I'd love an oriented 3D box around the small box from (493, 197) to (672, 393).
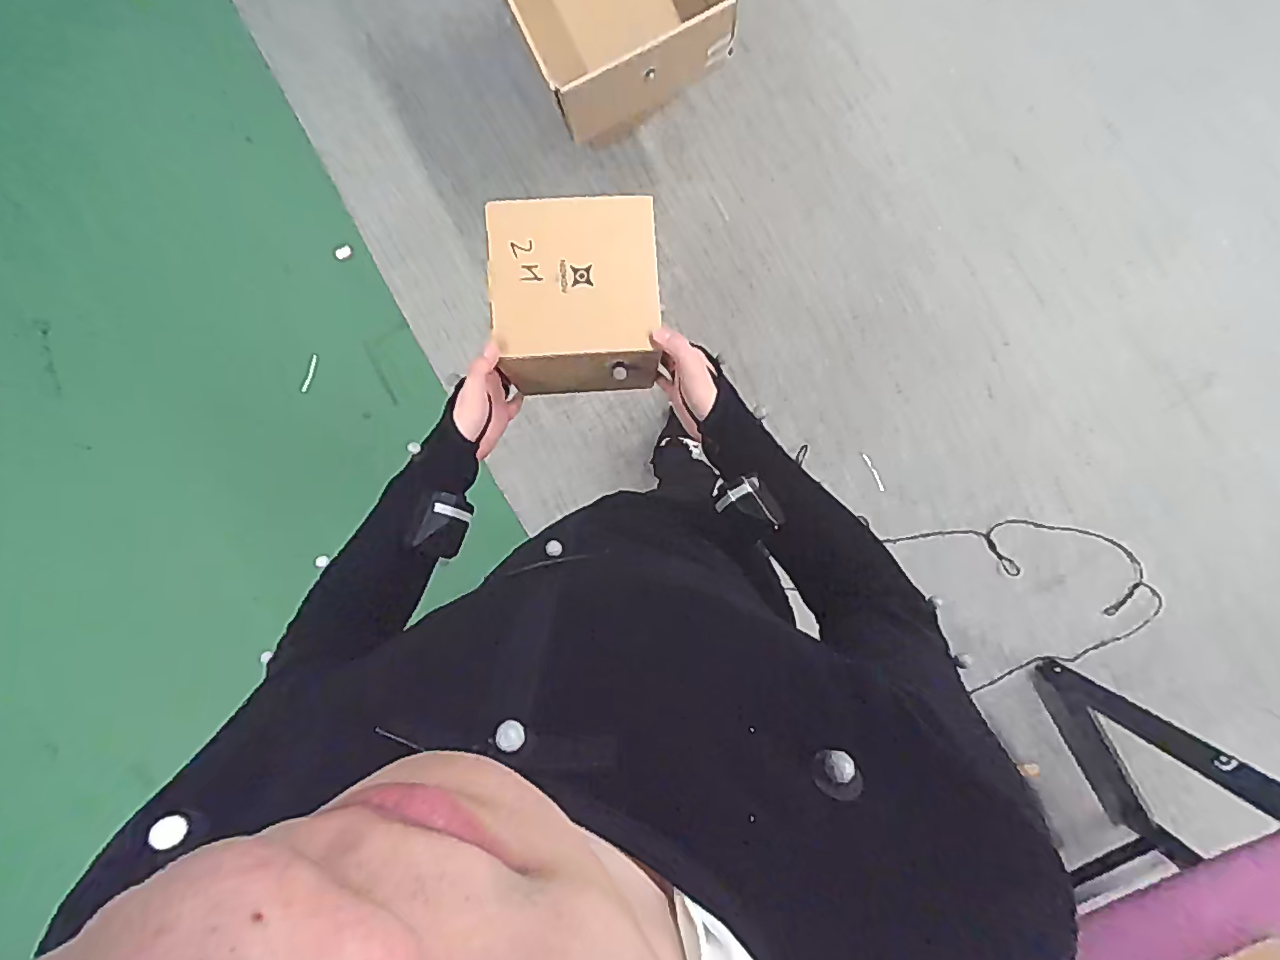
[{"bbox_3d":[-0.063,-0.203,0.631,0.179,0.176,0.168,-4,86,-3],"label":"small box"}]
